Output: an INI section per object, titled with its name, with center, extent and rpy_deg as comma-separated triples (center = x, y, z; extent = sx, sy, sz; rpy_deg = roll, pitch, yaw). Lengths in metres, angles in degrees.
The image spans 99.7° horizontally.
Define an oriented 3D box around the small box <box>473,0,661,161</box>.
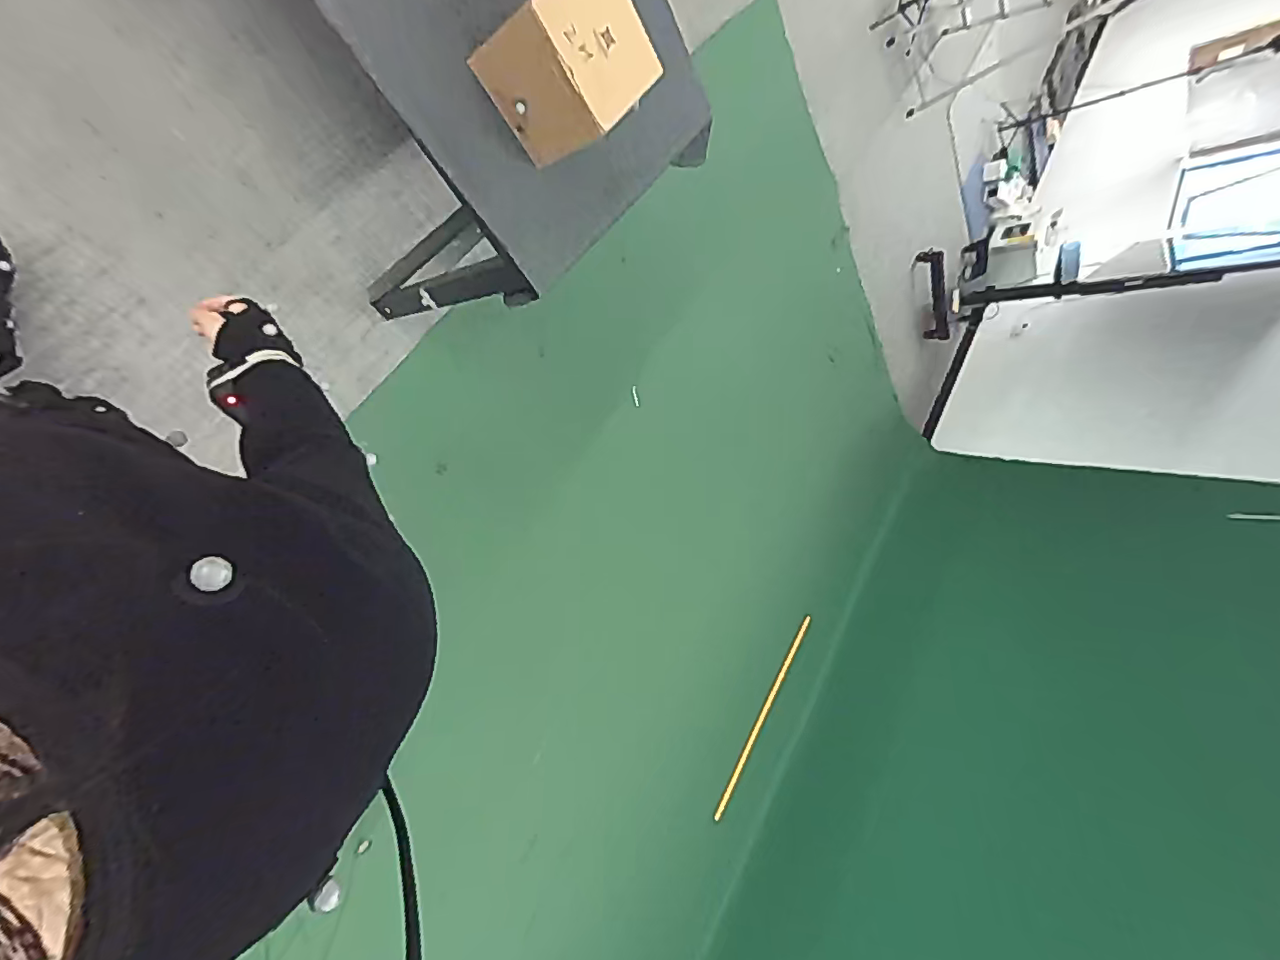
[small box]
center = -0.107, -0.609, 0.789
extent = 0.179, 0.176, 0.168
rpy_deg = -56, 130, -21
